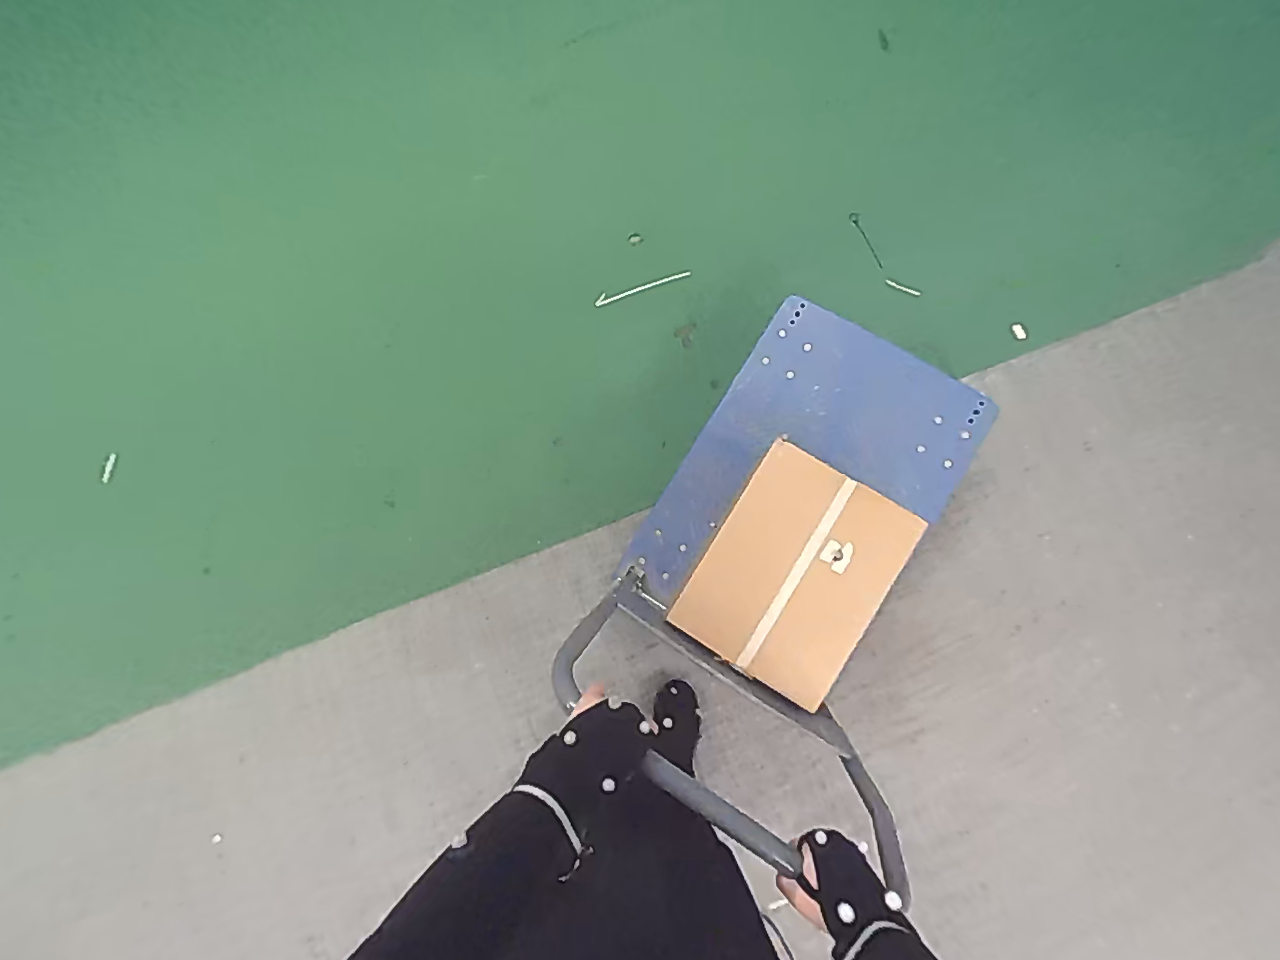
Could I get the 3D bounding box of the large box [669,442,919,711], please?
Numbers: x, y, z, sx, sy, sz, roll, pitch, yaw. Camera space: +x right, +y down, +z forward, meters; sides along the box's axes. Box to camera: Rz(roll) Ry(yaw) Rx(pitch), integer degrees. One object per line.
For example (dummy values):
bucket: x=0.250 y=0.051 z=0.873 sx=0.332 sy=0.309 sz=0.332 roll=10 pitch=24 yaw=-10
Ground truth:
large box: x=0.294 y=0.189 z=1.143 sx=0.320 sy=0.320 sz=0.408 roll=32 pitch=88 yaw=7
